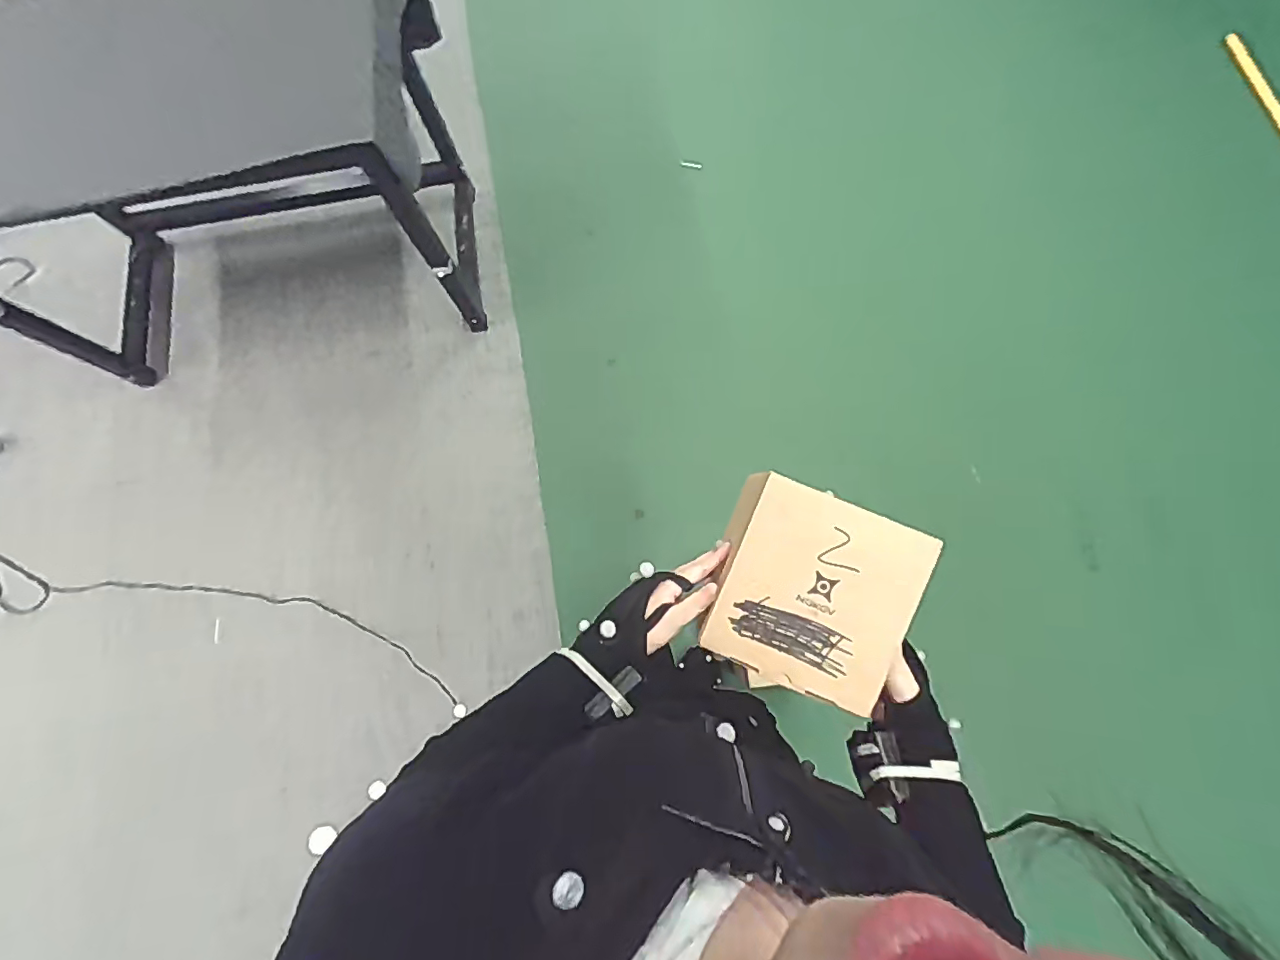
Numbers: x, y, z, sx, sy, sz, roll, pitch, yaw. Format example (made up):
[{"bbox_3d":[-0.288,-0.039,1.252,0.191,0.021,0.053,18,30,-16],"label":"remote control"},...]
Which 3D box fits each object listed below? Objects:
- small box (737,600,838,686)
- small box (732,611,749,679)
[{"bbox_3d":[0.330,0.370,1.242,0.179,0.176,0.168,-8,74,2],"label":"small box"},{"bbox_3d":[0.341,0.416,1.401,0.179,0.176,0.168,-10,74,0],"label":"small box"}]
